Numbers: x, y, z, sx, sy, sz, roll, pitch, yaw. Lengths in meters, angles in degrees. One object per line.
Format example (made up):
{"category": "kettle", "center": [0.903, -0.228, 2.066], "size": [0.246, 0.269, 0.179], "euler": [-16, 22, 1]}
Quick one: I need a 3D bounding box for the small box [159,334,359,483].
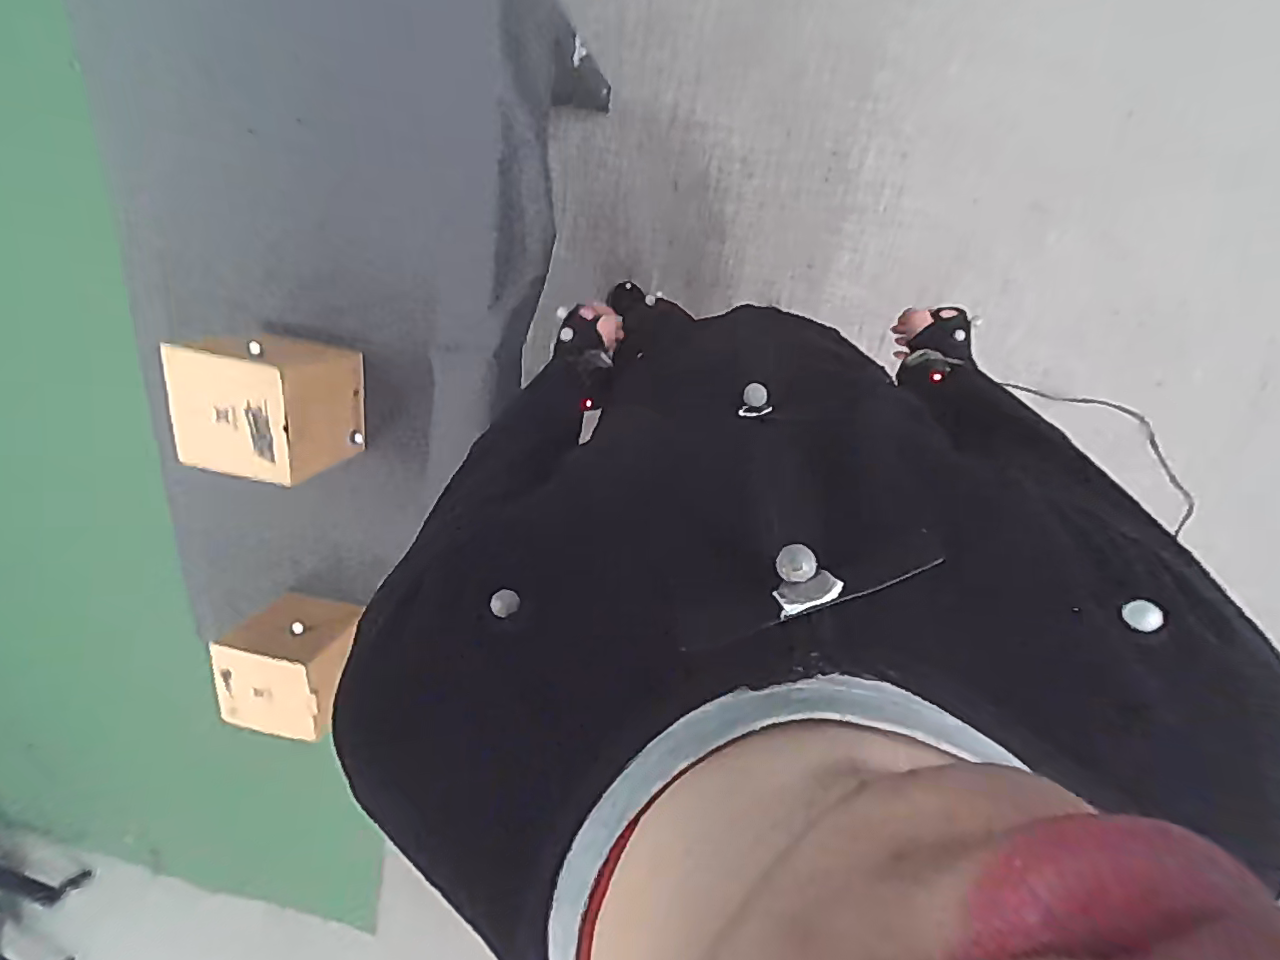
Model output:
{"category": "small box", "center": [-0.539, -0.114, 0.797], "size": [0.179, 0.176, 0.168], "euler": [12, 112, 5]}

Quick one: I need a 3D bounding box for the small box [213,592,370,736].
{"category": "small box", "center": [-0.609, 0.321, 0.973], "size": [0.179, 0.176, 0.168], "euler": [10, 110, 4]}
